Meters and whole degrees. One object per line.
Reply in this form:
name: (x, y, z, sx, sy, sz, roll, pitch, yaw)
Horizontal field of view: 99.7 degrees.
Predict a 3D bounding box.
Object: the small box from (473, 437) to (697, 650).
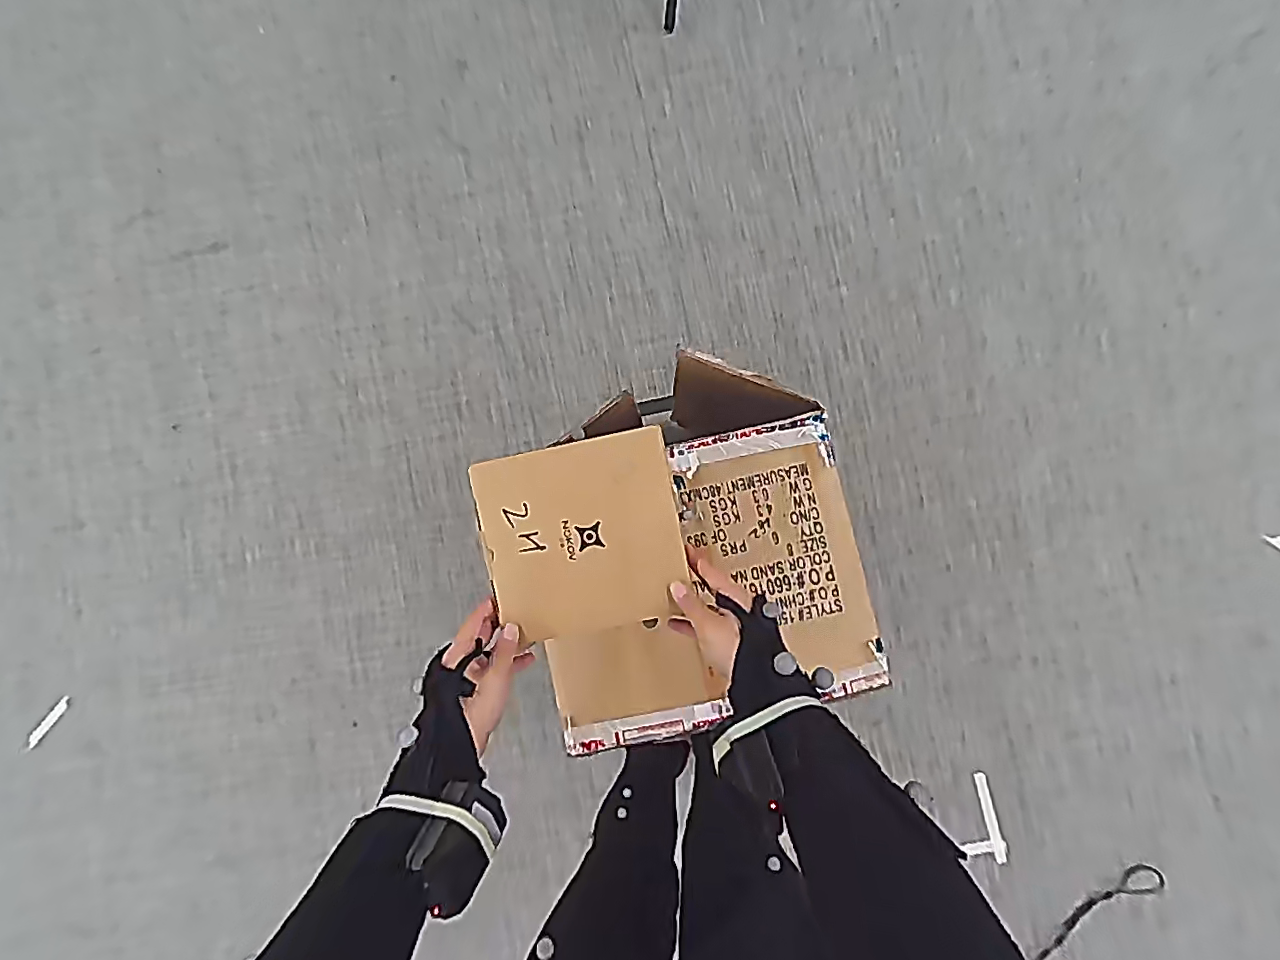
small box: (-0.047, 0.056, 0.558, 0.179, 0.176, 0.168, -12, 89, 3)
